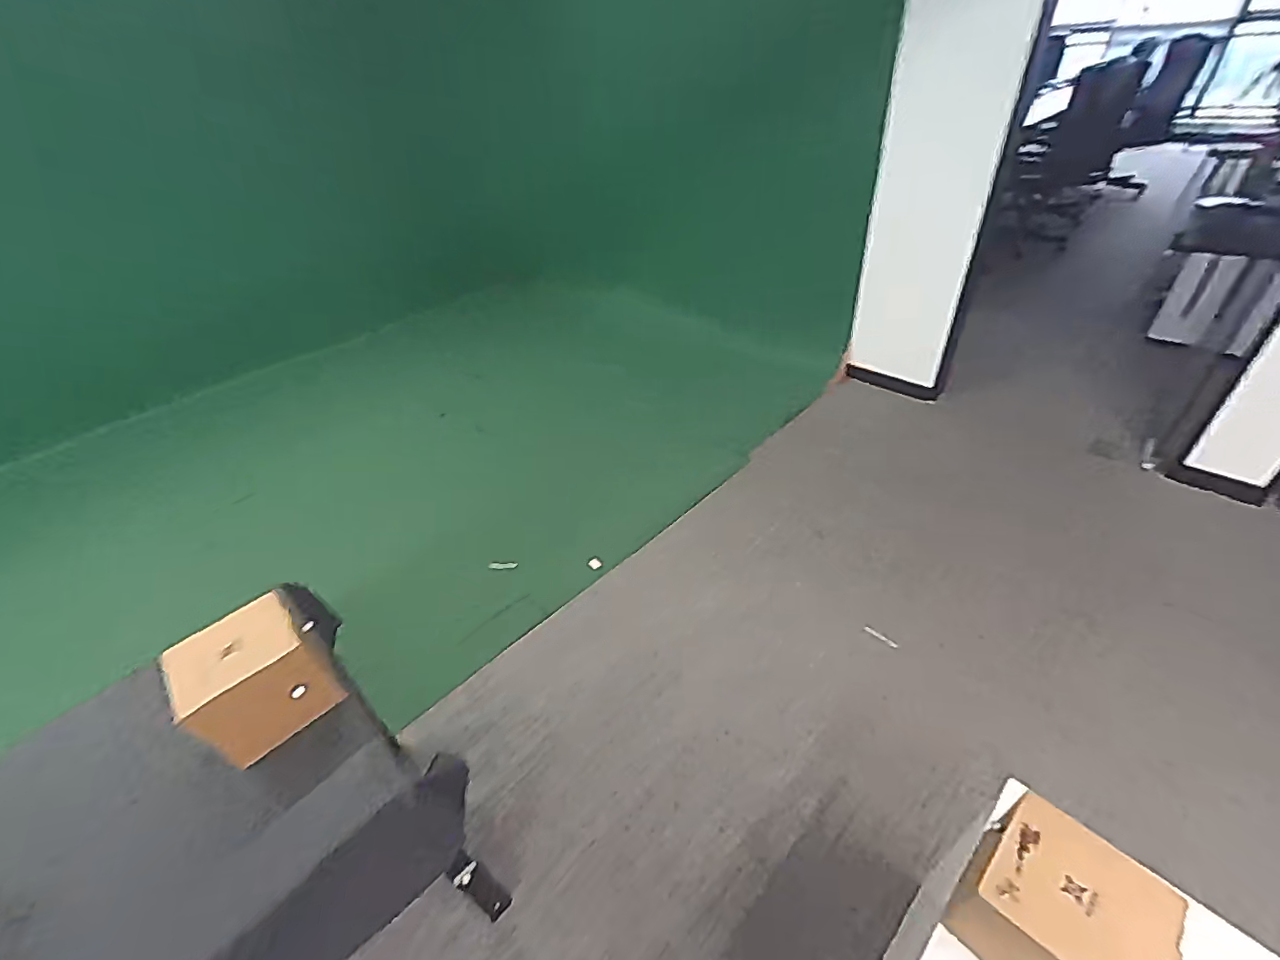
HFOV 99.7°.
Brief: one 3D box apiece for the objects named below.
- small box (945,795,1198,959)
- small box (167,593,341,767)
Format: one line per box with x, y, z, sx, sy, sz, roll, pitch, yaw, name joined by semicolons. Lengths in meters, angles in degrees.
0.527;0.552;0.682;0.168;0.176;0.179;-34;48;-28;small box
-0.637;0.335;0.913;0.179;0.176;0.168;-35;46;-28;small box
